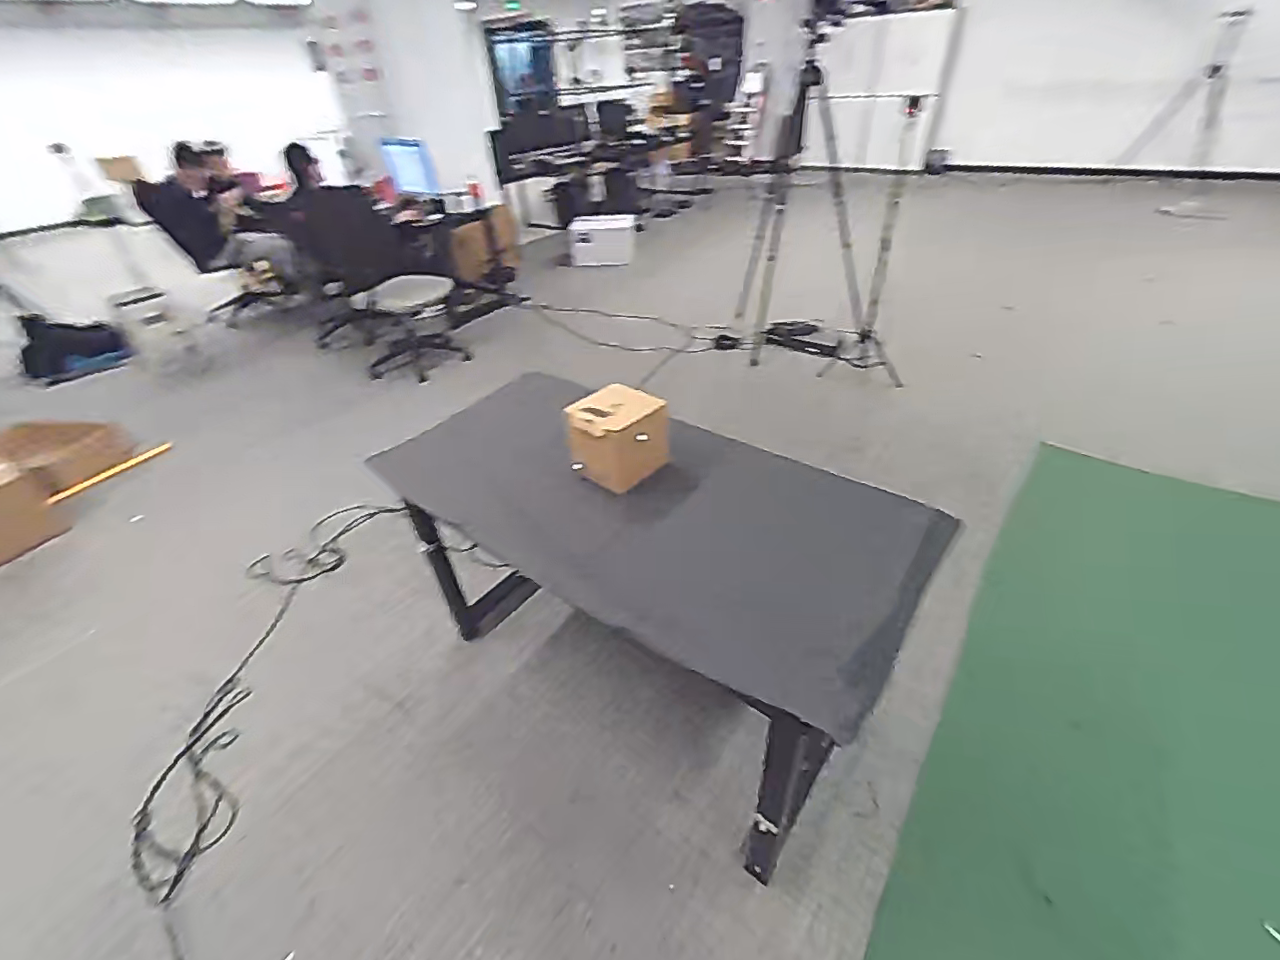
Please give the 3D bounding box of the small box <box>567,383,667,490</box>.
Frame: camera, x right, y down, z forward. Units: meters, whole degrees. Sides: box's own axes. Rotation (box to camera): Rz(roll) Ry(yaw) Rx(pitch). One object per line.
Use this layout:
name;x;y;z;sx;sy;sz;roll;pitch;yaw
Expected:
small box;-0.046;-0.104;1.279;0.168;0.176;0.179;27;47;34
